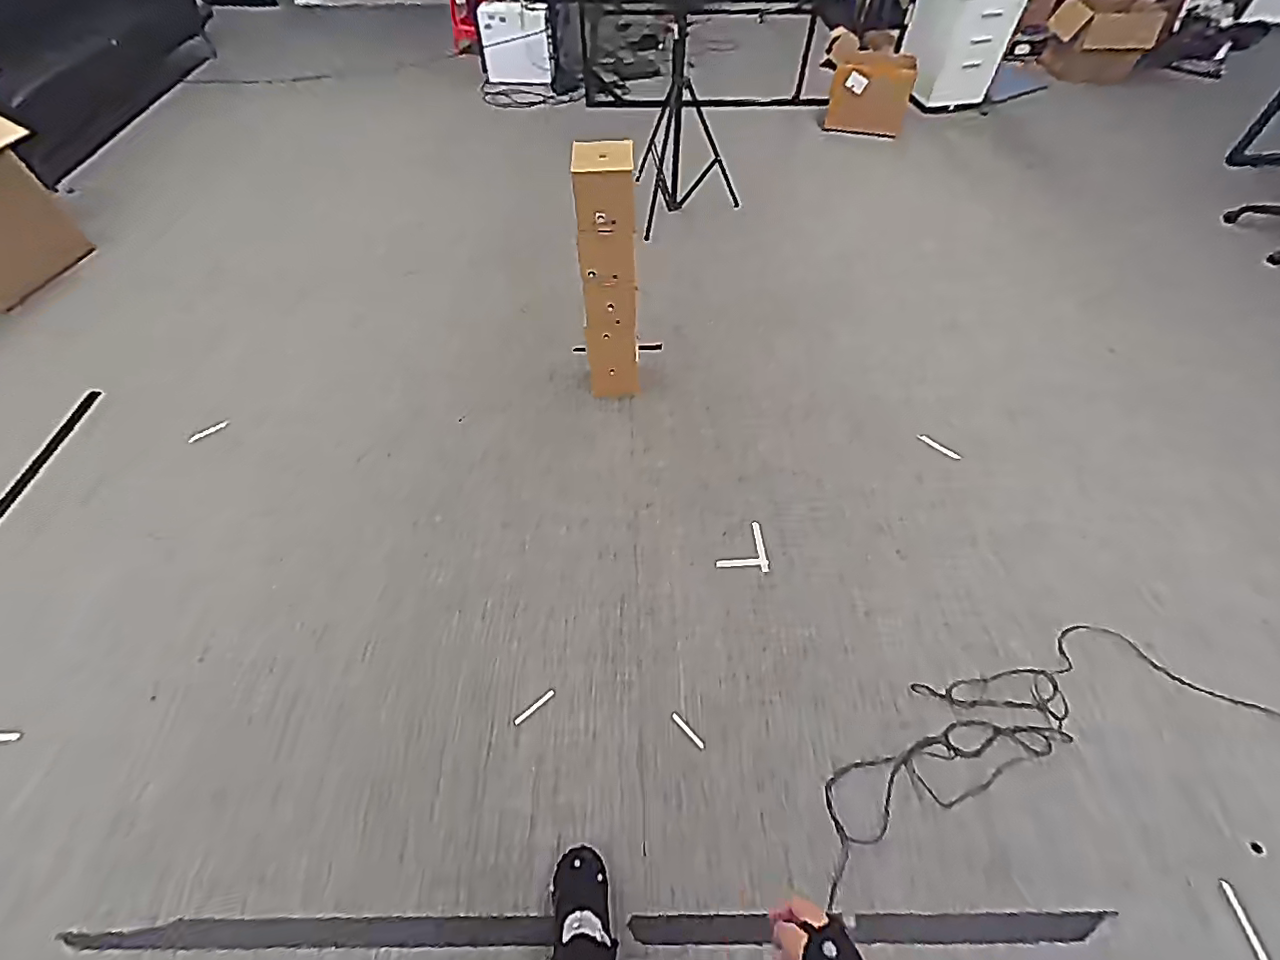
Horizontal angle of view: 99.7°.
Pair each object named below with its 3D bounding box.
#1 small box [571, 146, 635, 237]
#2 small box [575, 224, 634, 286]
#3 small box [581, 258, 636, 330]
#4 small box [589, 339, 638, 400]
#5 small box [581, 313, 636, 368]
[{"bbox_3d":[-0.100,-0.803,1.509,0.168,0.176,0.179,-3,55,0],"label":"small box"},{"bbox_3d":[-0.102,-0.707,1.640,0.168,0.176,0.179,-1,53,0],"label":"small box"},{"bbox_3d":[-0.097,-0.608,1.771,0.168,0.176,0.179,0,55,0],"label":"small box"},{"bbox_3d":[-0.097,-0.415,2.036,0.179,0.176,0.168,-2,54,-1],"label":"small box"},{"bbox_3d":[-0.105,-0.509,1.901,0.179,0.176,0.168,0,55,1],"label":"small box"}]
